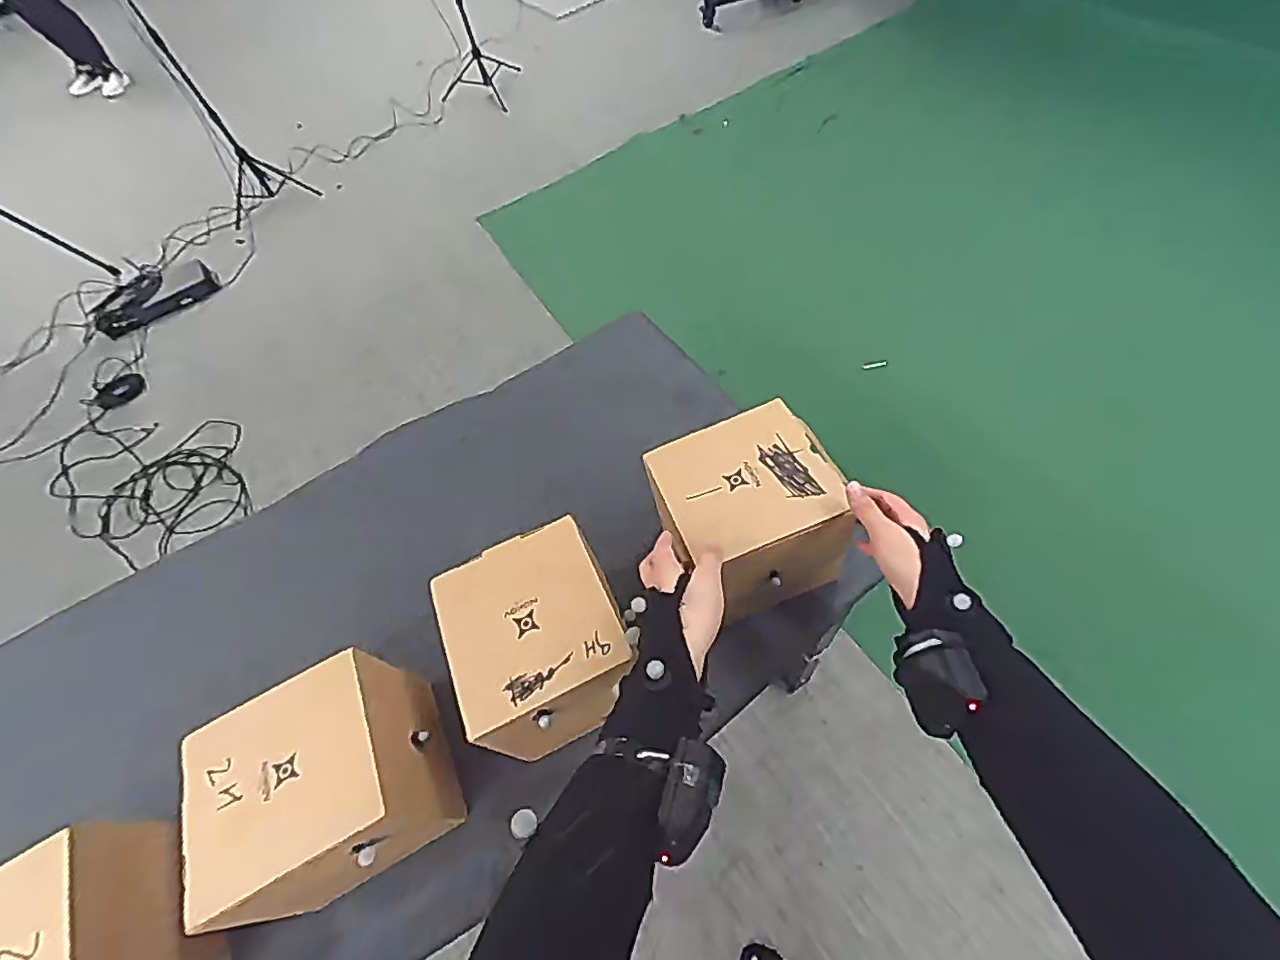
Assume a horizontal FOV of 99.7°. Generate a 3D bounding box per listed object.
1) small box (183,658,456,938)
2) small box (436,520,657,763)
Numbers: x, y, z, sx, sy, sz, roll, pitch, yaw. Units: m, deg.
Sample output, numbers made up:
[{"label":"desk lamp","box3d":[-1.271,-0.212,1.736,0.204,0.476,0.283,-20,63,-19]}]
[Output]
[{"label":"small box","box3d":[-0.308,0.313,0.550,0.179,0.176,0.168,-28,56,-6]},{"label":"small box","box3d":[-0.096,0.182,0.594,0.168,0.176,0.179,-26,55,-5]}]
